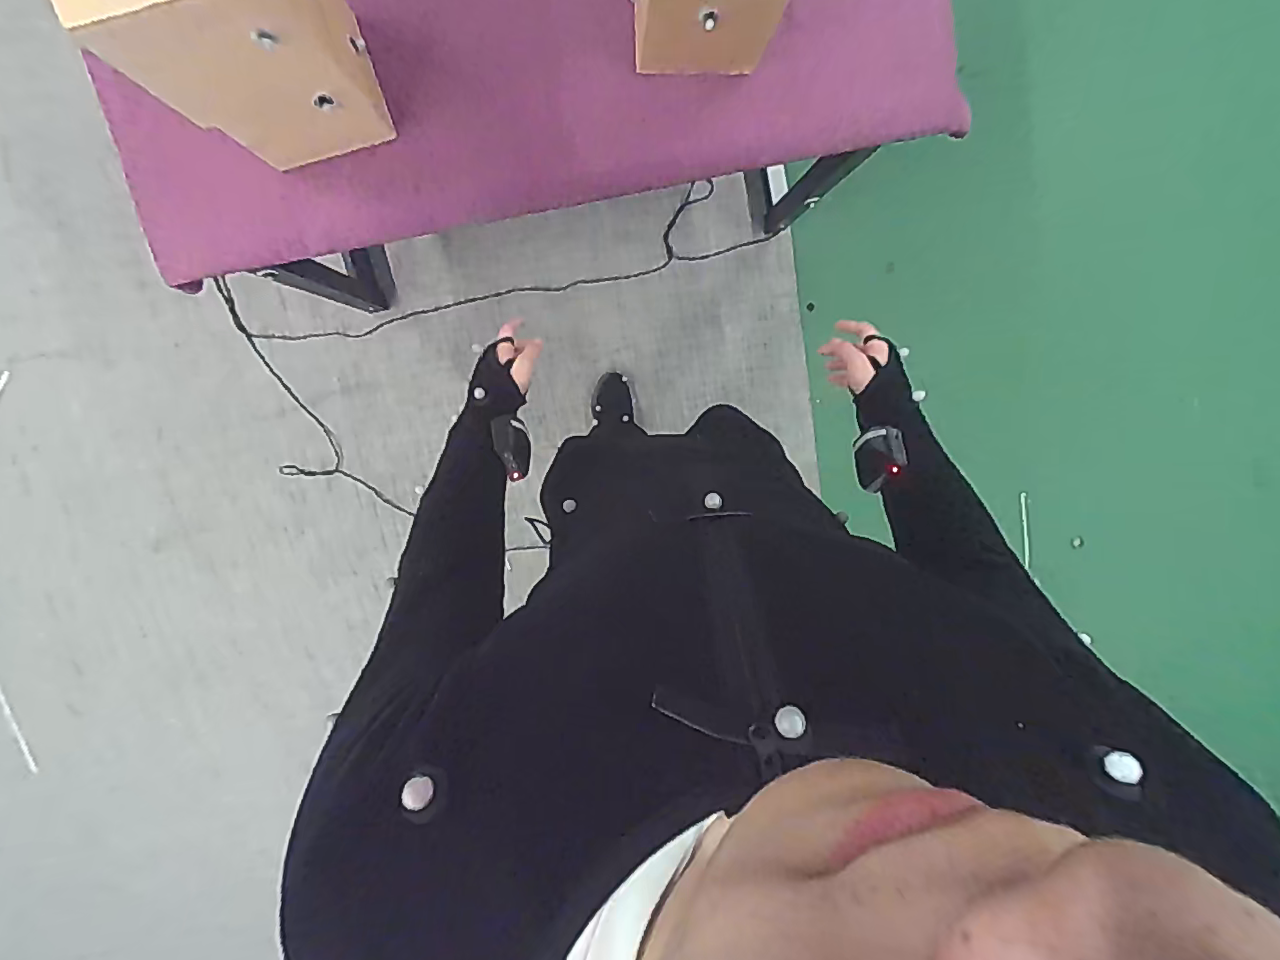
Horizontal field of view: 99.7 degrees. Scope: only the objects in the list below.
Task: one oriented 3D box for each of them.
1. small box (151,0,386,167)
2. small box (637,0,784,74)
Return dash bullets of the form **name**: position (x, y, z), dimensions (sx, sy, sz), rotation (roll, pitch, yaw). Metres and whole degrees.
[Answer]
- **small box**: position (-0.443, -0.525, 0.671), dimensions (0.179, 0.176, 0.168), rotation (-17, 100, -2)
- **small box**: position (0.085, -0.658, 0.695), dimensions (0.179, 0.176, 0.168), rotation (-2, 100, -5)
